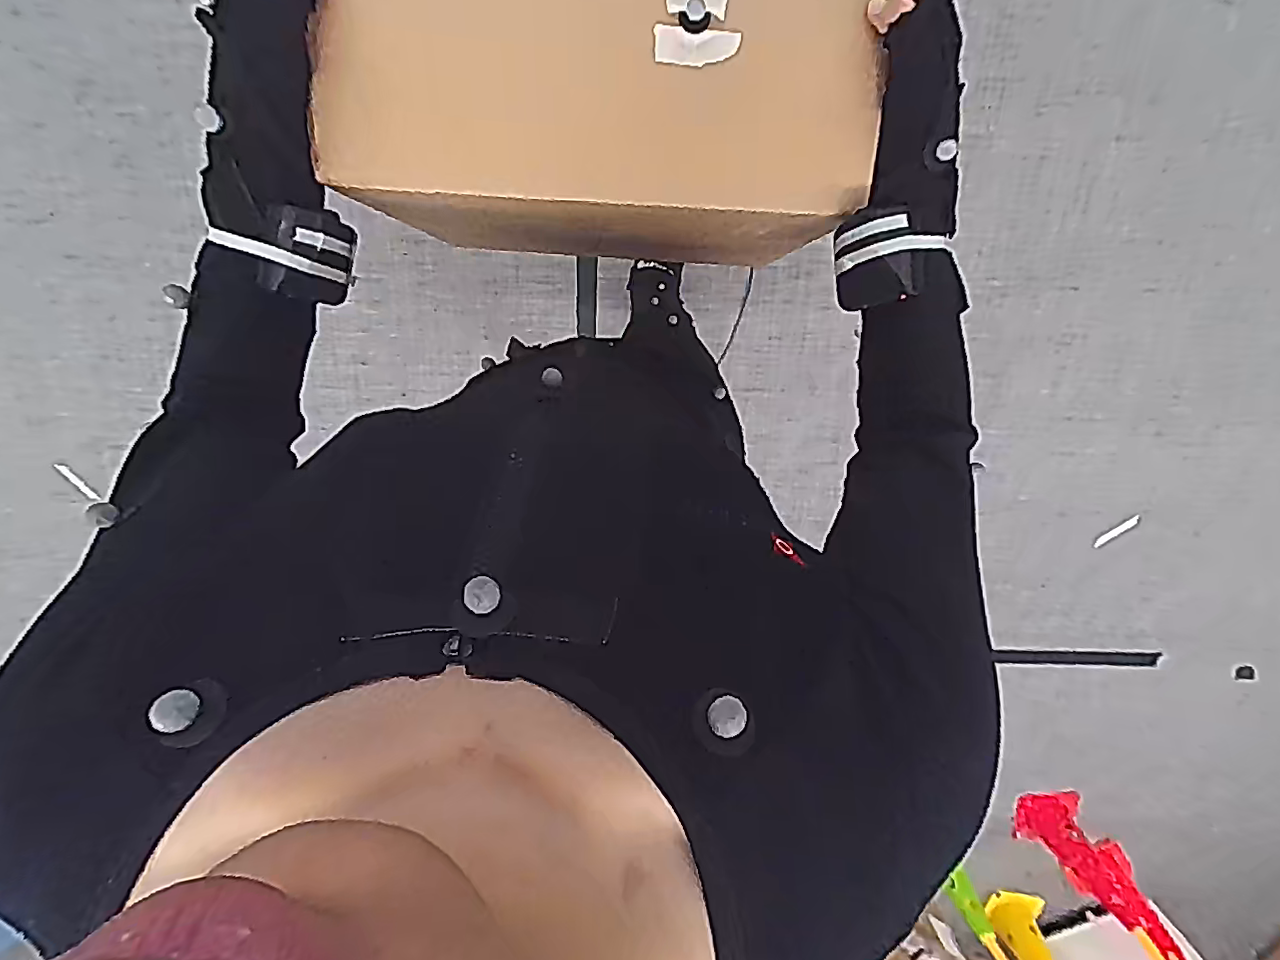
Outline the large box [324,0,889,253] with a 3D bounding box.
[{"bbox_3d":[-0.024,-0.408,0.514,0.408,0.320,0.320,2,105,-2],"label":"large box"}]
